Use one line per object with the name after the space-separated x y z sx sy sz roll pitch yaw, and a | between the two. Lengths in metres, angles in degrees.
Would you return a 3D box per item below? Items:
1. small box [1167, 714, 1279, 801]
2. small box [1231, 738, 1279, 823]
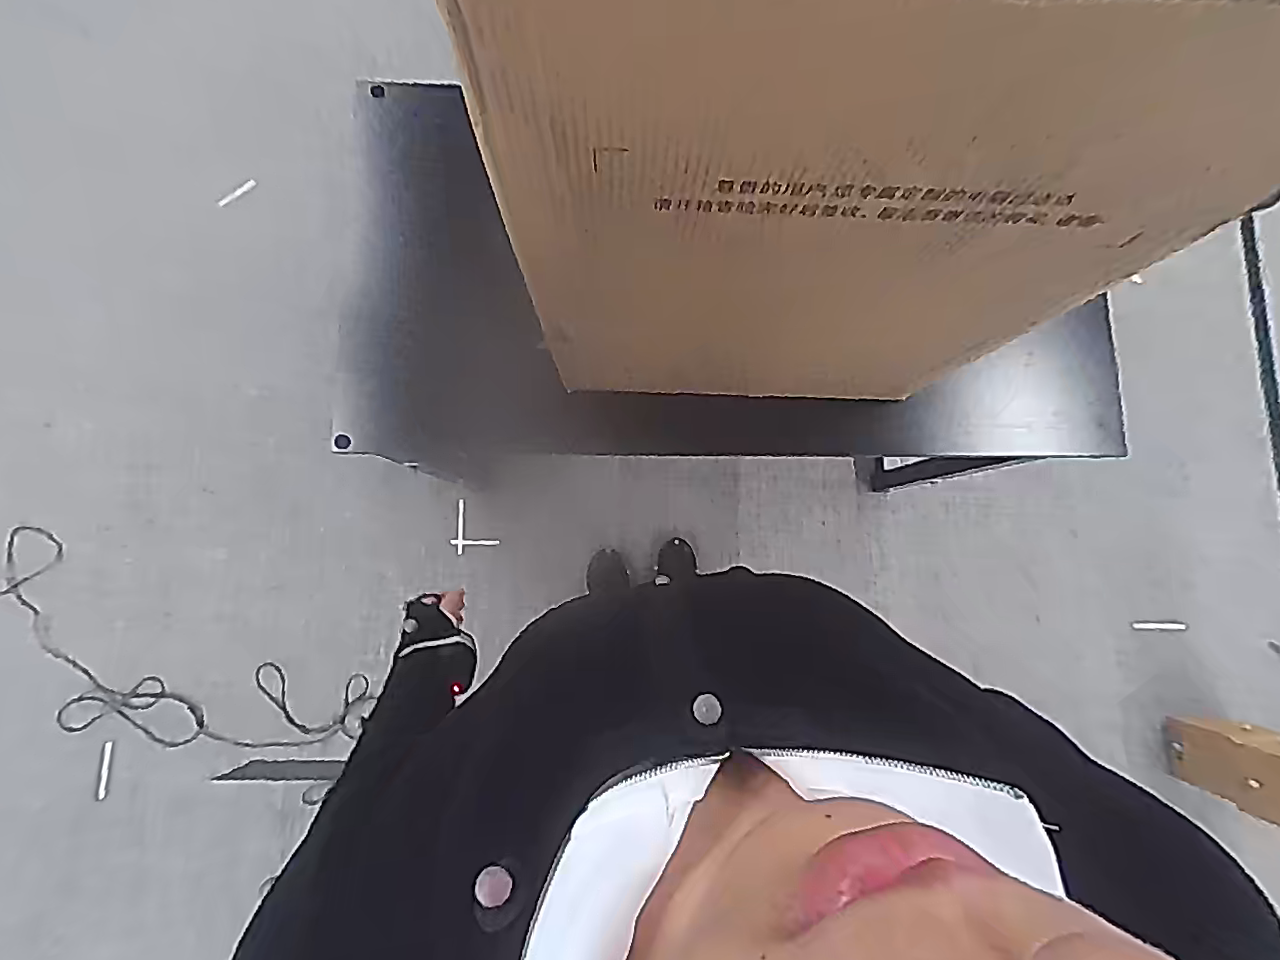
1.558 0.726 1.424 0.179 0.176 0.168 1 82 -1 | small box
1.556 0.713 1.259 0.179 0.176 0.168 1 82 -2 | small box
